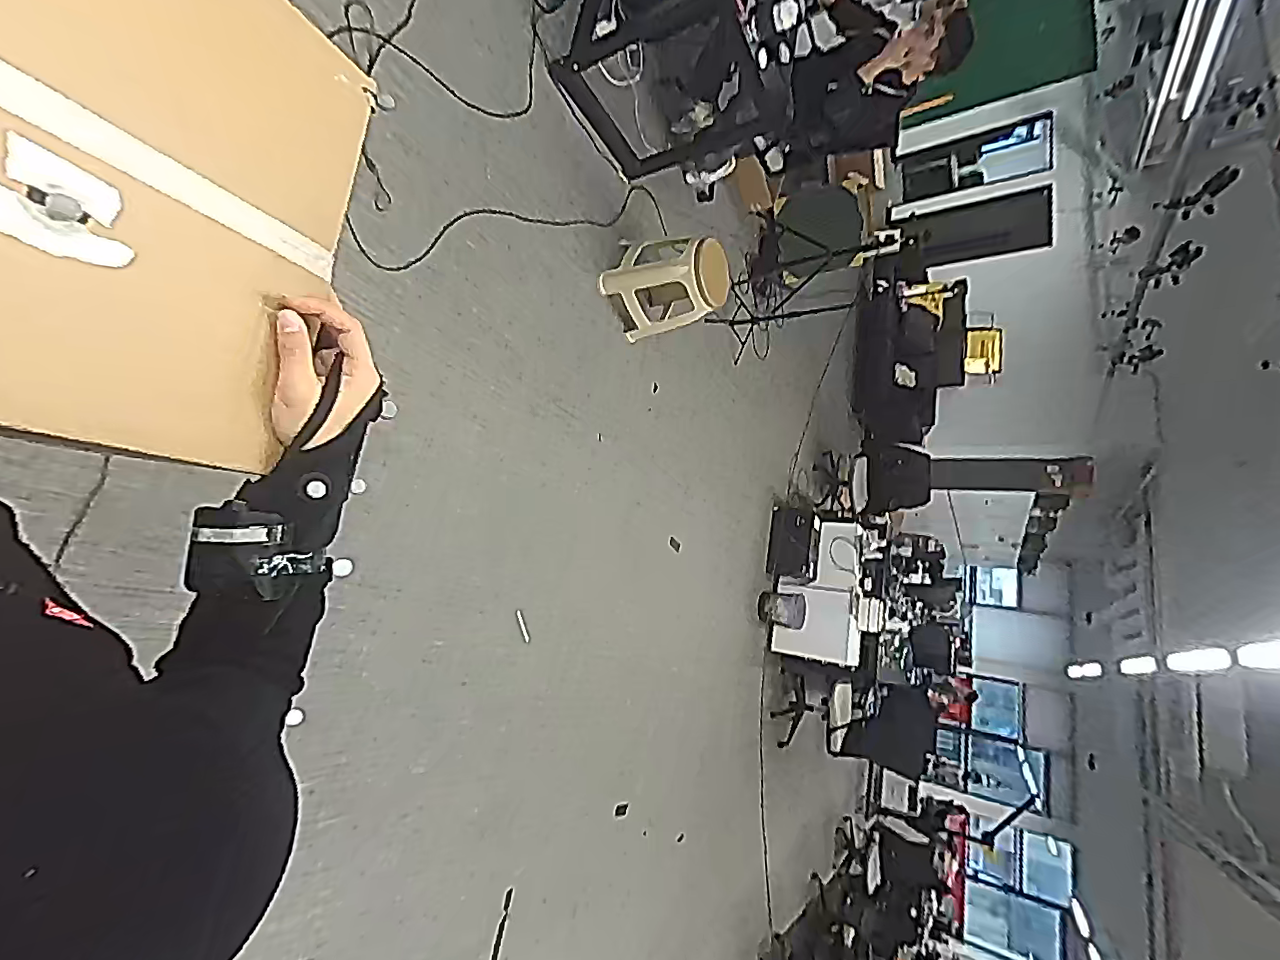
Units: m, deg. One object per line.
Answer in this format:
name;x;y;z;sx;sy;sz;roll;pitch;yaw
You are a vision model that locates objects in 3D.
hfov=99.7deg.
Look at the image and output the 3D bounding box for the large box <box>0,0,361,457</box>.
large box;-0.458;-0.208;0.298;0.408;0.320;0.320;23;75;-62
